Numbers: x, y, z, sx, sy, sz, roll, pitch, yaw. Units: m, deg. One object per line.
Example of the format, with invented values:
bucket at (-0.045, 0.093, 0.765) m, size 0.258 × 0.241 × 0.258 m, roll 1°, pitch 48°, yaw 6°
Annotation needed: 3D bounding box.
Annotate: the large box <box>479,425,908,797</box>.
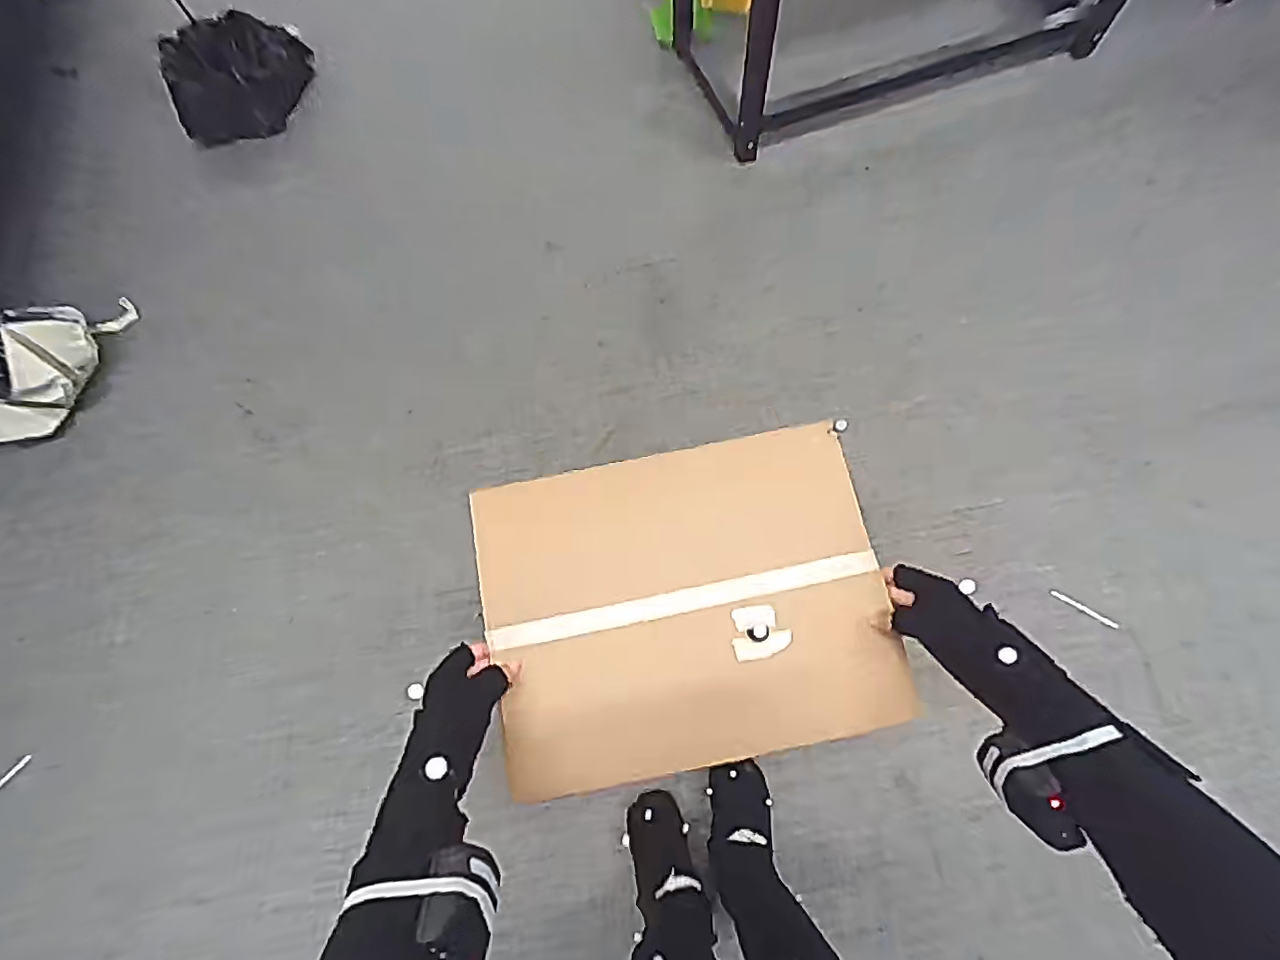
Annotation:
large box at (0.048, 0.160, 0.713) m, size 0.408 × 0.320 × 0.320 m, roll -12°, pitch 77°, yaw -1°
